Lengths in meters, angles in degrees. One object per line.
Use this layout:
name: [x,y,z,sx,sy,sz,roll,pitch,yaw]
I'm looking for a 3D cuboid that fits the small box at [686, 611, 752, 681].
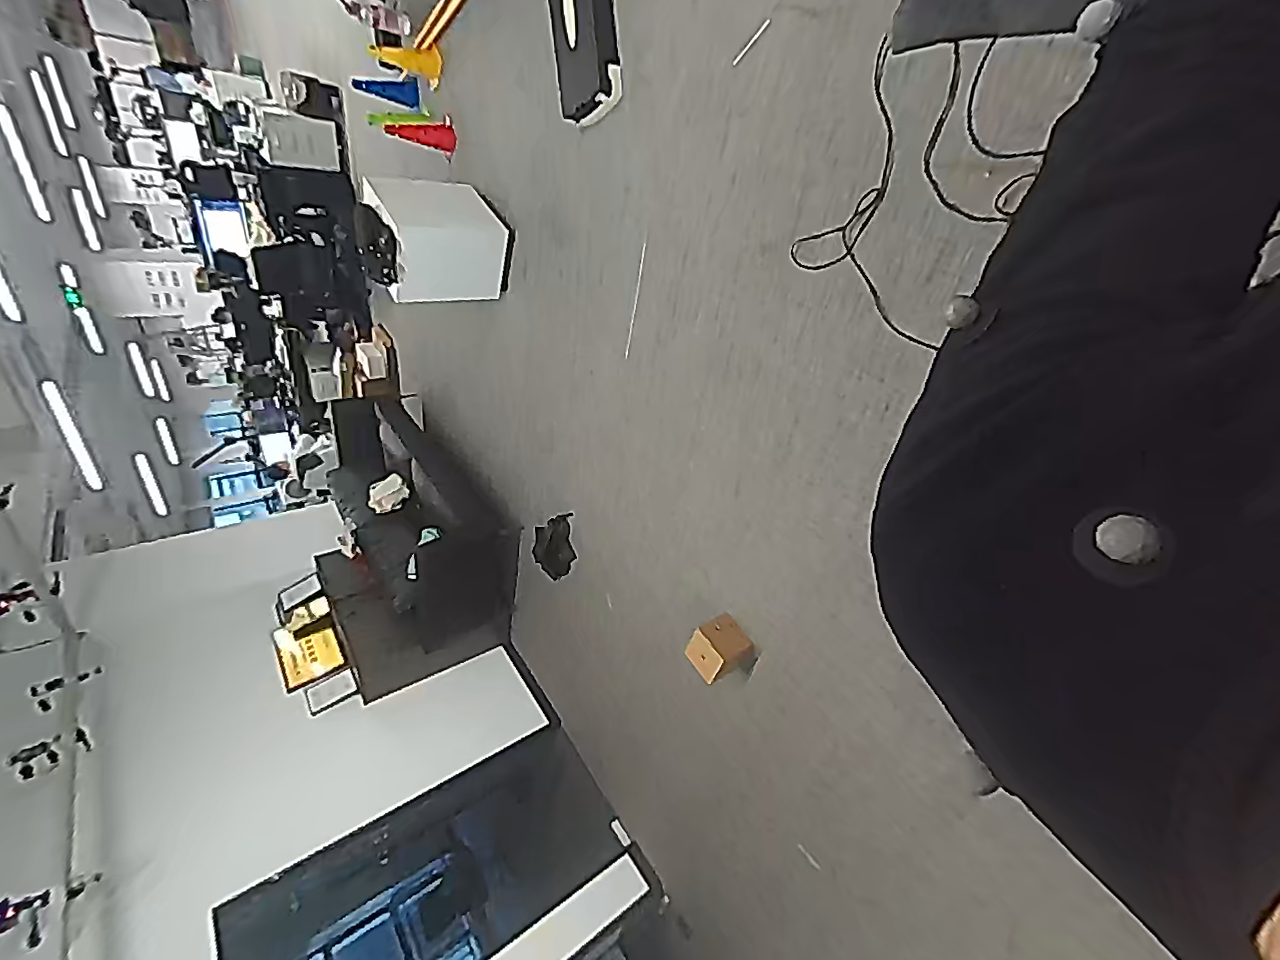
small box: [0.314,0.647,2.126,0.168,0.176,0.179,47,138,34]
